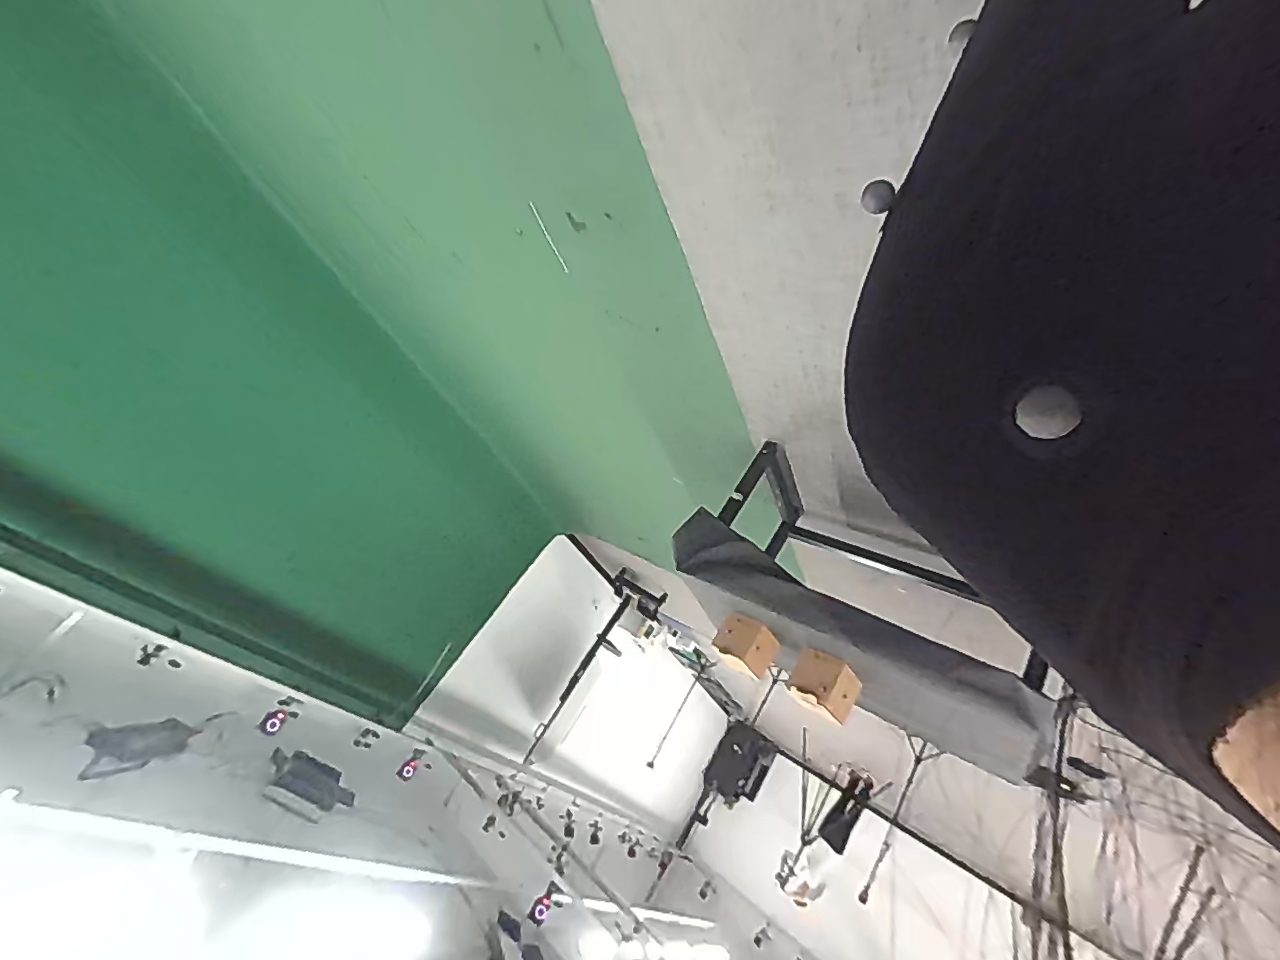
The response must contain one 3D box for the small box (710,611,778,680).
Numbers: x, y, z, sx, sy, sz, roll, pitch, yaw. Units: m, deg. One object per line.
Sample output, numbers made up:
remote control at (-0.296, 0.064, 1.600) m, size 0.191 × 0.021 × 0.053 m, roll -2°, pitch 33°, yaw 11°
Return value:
small box at (0.410, 0.641, 2.112) m, size 0.168 × 0.176 × 0.179 m, roll 13°, pitch 150°, yaw 49°
